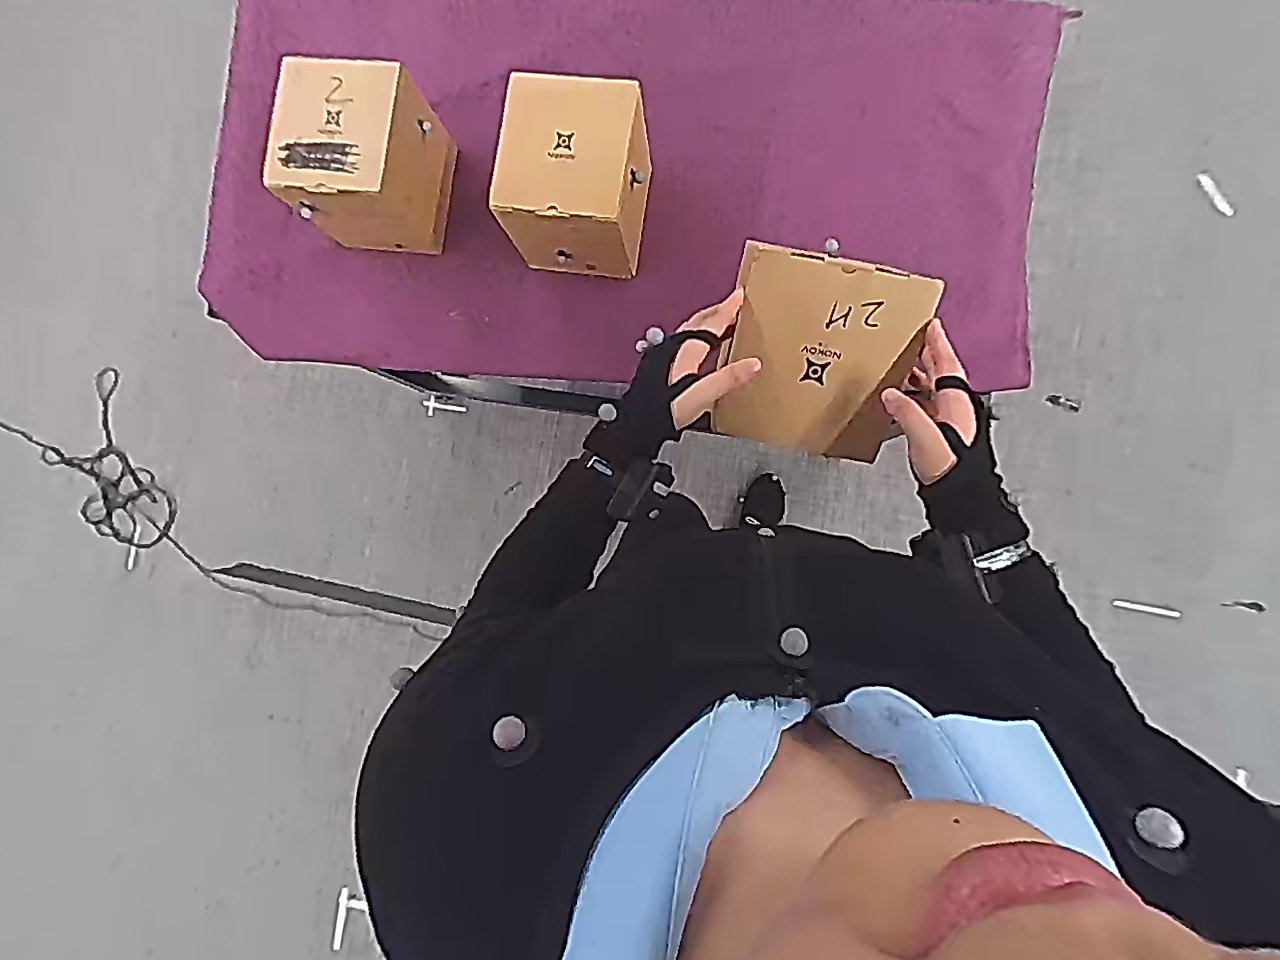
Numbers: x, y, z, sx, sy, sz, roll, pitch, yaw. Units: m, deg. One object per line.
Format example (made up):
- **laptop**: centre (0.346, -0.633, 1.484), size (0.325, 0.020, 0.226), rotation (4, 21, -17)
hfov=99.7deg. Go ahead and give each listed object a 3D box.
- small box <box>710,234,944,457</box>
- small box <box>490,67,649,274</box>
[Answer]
- **small box**: centre (0.175, -0.148, 0.567), size (0.168, 0.176, 0.179), rotation (12, 116, 2)
- **small box**: centre (-0.084, -0.409, 0.737), size (0.168, 0.176, 0.179), rotation (9, 89, 6)
